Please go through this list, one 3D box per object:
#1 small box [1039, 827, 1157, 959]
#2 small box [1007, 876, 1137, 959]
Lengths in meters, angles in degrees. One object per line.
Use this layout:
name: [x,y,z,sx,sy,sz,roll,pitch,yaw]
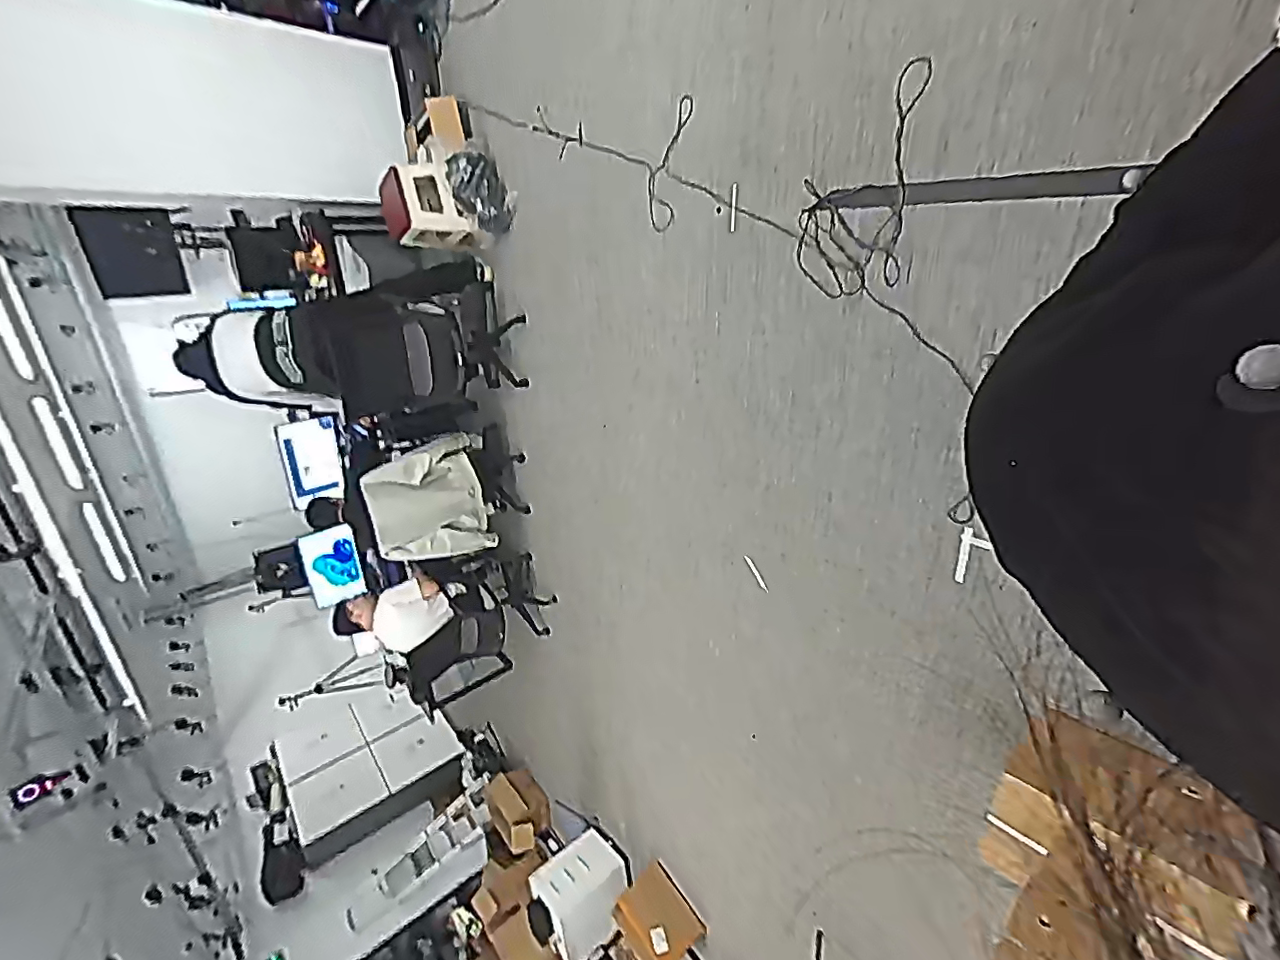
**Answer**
small box: [0.937,0.884,1.126,0.168,0.176,0.179,20,120,46]
small box: [0.811,0.921,1.031,0.168,0.176,0.179,19,121,48]
